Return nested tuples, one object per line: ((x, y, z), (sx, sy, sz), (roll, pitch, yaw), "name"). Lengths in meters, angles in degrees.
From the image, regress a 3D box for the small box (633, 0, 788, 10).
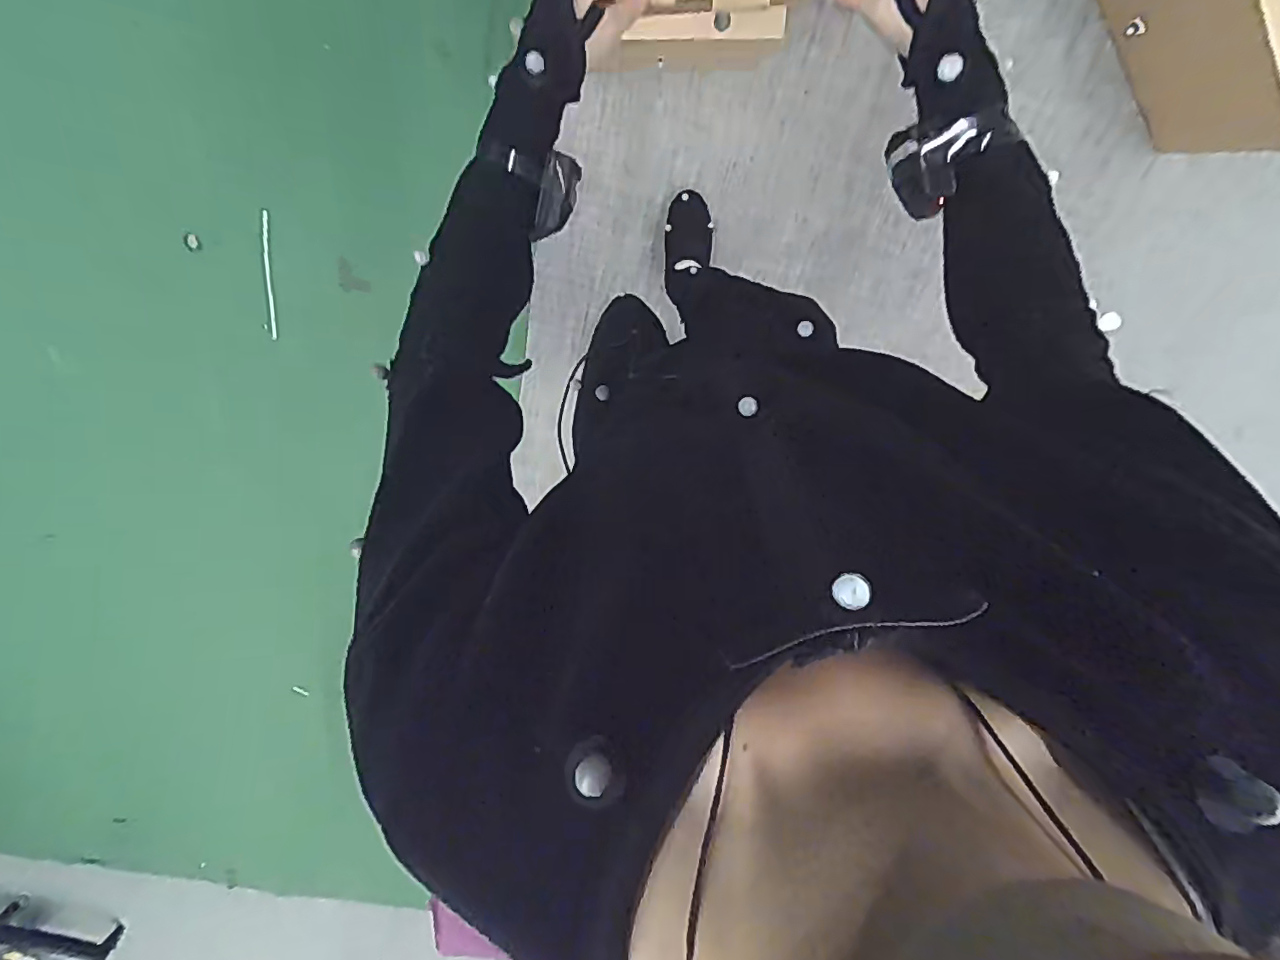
((0.070, -0.490, 0.426), (0.168, 0.176, 0.179), (-4, 128, 1), "small box")
